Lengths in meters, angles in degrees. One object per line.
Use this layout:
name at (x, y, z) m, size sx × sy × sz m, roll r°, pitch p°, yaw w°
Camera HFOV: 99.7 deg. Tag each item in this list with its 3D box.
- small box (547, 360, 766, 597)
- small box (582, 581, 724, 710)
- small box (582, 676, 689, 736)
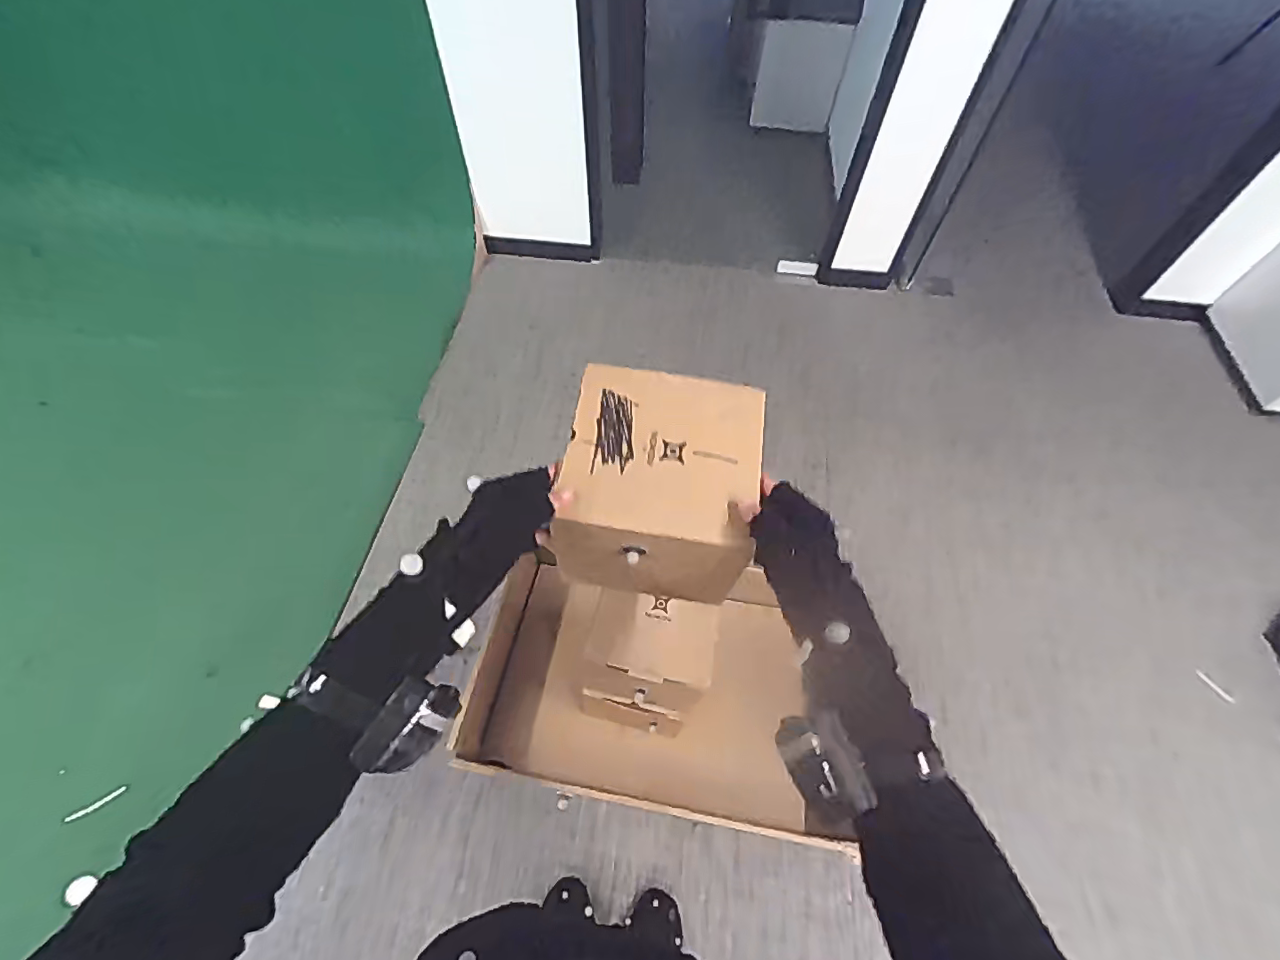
small box at (0.018, 0.007, 0.544) m, size 0.179 × 0.176 × 0.168 m, roll 9°, pitch 61°, yaw 2°
small box at (0.020, 0.220, 0.791) m, size 0.168 × 0.176 × 0.179 m, roll 13°, pitch 58°, yaw 3°
small box at (0.006, 0.318, 0.922) m, size 0.168 × 0.176 × 0.179 m, roll 13°, pitch 55°, yaw 4°
